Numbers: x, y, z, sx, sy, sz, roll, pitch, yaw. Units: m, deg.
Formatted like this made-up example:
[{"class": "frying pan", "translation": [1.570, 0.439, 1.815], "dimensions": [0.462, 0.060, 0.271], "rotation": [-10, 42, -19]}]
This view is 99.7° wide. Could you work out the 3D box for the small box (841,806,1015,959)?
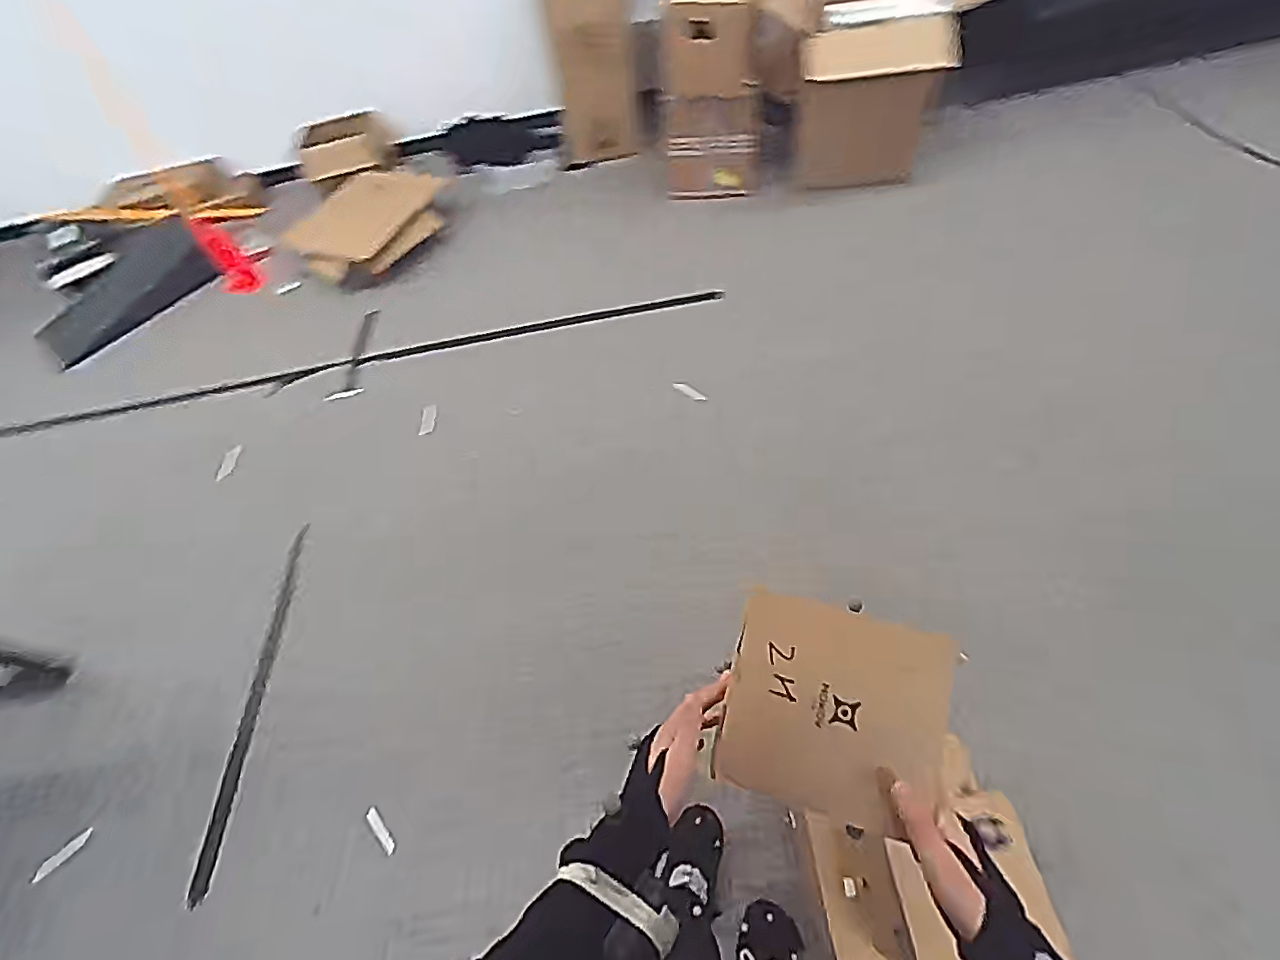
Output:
[{"class": "small box", "translation": [0.426, 0.622, 0.840], "dimensions": [0.168, 0.176, 0.179], "rotation": [-10, 56, 5]}]
